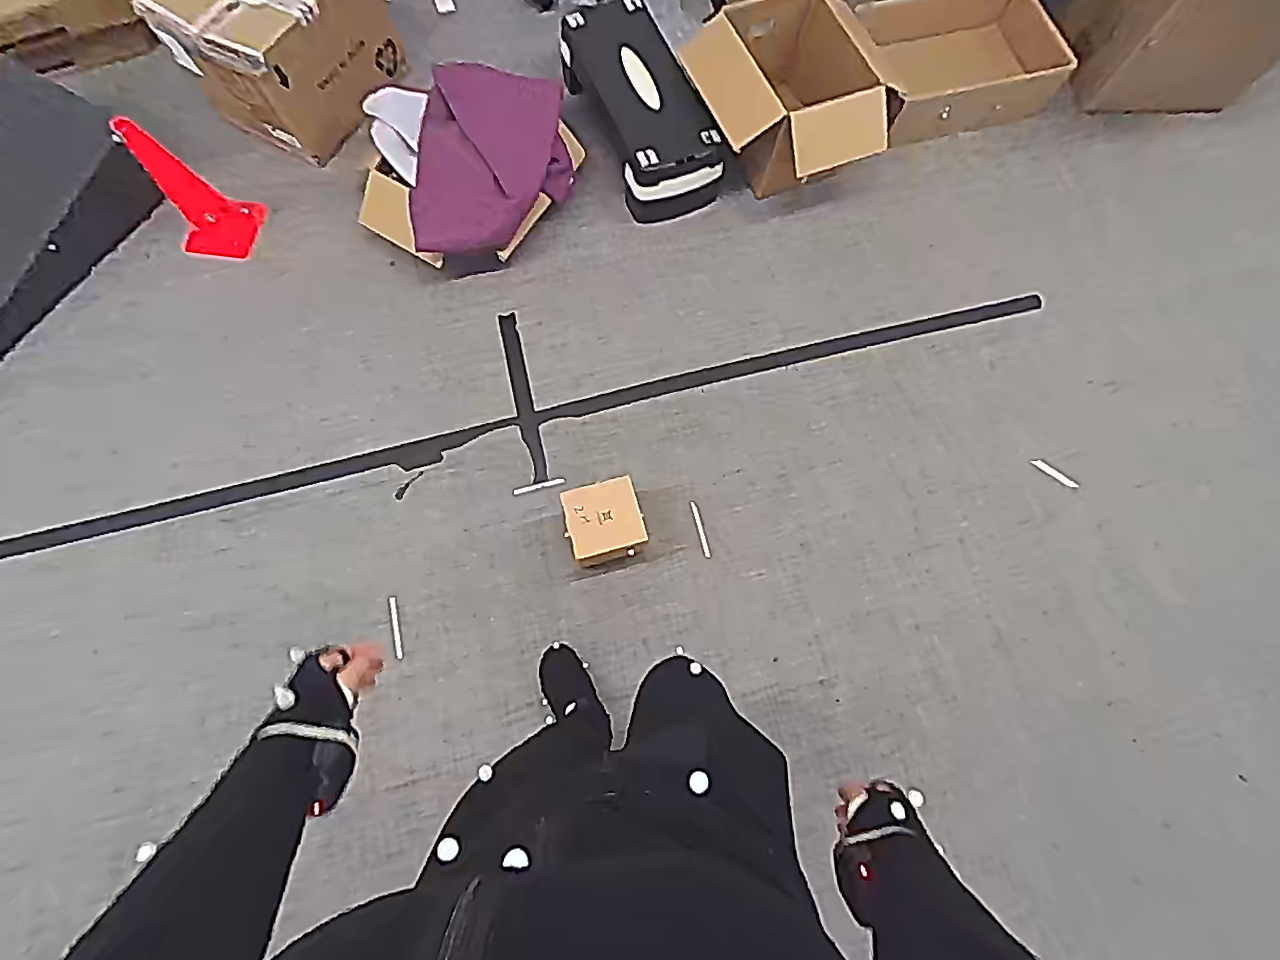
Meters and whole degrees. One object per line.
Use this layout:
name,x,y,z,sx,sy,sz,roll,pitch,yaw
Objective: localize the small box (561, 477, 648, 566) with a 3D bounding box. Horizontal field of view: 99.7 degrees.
small box,-0.090,0.109,1.345,0.179,0.176,0.168,-15,76,-7
